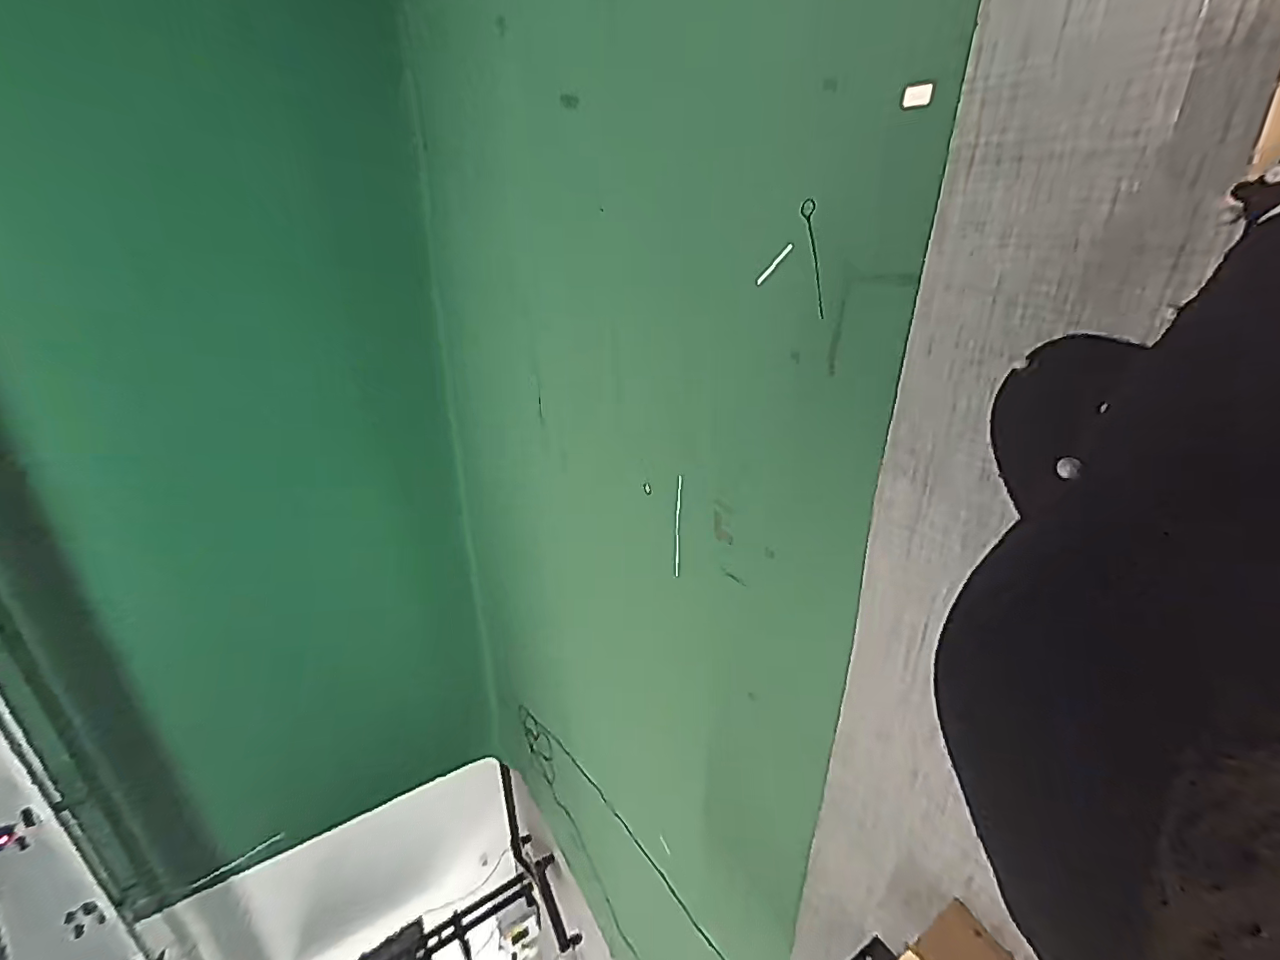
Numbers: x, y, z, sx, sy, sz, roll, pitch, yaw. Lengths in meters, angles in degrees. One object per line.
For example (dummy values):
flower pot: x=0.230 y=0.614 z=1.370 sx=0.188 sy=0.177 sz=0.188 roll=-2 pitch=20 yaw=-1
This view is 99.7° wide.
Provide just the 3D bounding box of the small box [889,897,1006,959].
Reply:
small box: x=0.626 y=1.005 z=1.096 sx=0.168 sy=0.176 sz=0.179 roll=41 pitch=136 yaw=45

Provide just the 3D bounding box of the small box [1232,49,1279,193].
small box: x=0.671 y=-0.348 z=0.459 sx=0.168 sy=0.176 sz=0.179 roll=28 pitch=125 yaw=50
